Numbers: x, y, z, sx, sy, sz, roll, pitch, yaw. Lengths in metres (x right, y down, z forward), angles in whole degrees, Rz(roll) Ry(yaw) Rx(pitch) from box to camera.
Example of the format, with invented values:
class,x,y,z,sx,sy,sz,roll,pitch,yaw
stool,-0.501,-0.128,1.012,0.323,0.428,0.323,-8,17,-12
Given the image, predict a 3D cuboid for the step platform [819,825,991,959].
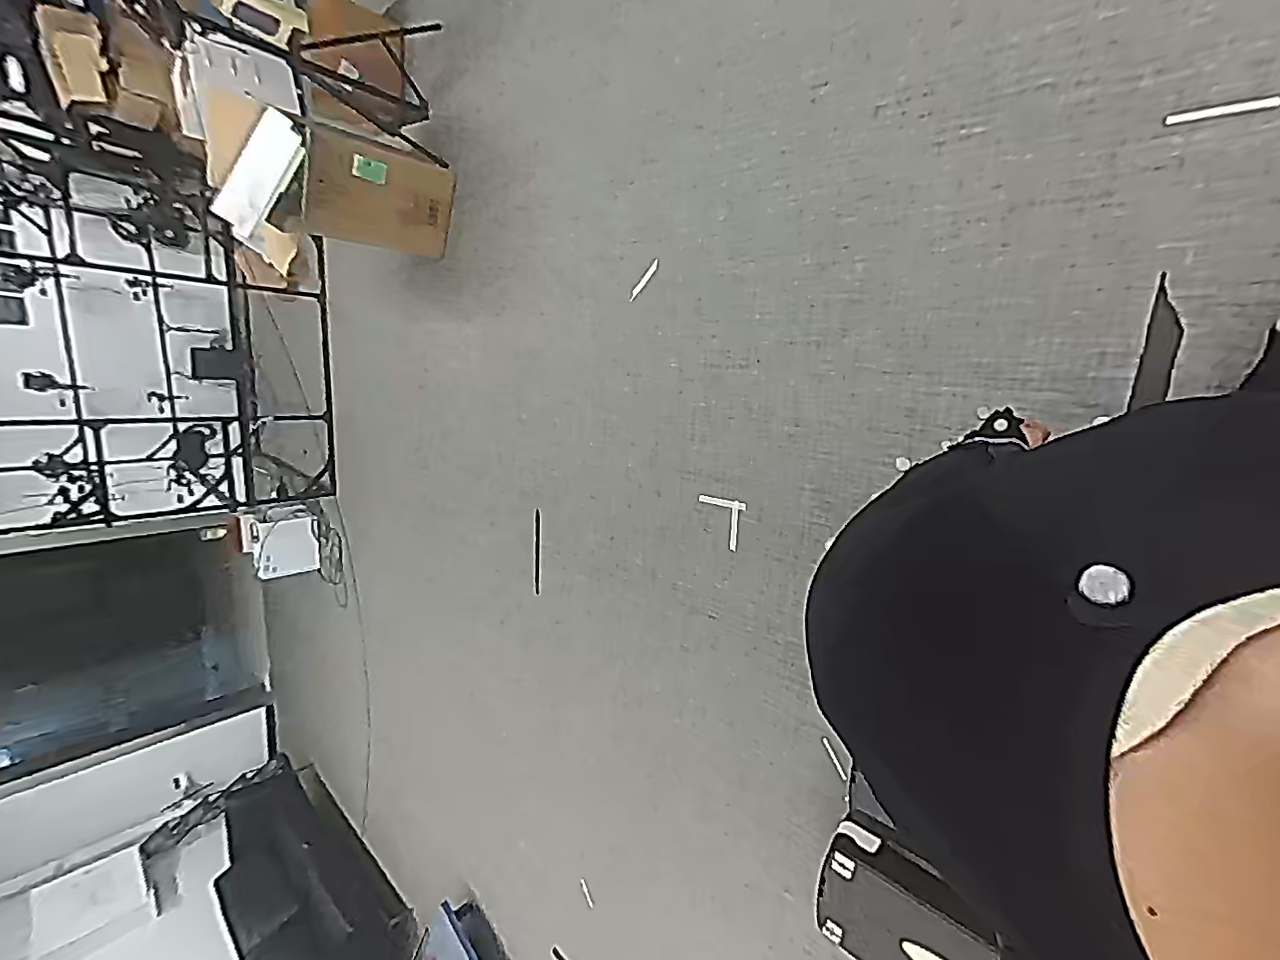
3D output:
class,x,y,z,sx,sy,sz,roll,pitch,yaw
step platform,0.757,1.140,1.208,0.684,0.204,0.286,21,108,42
